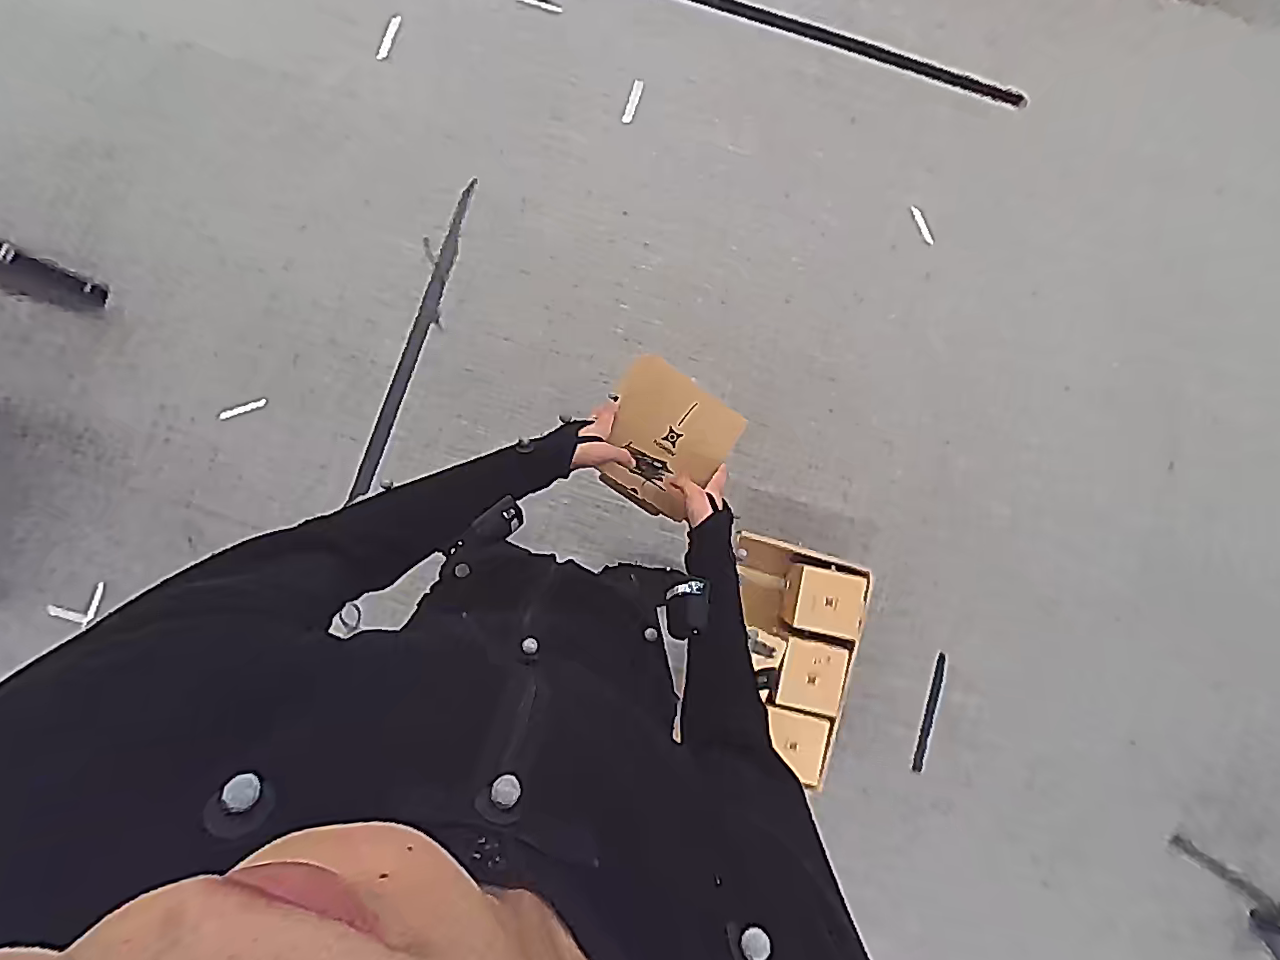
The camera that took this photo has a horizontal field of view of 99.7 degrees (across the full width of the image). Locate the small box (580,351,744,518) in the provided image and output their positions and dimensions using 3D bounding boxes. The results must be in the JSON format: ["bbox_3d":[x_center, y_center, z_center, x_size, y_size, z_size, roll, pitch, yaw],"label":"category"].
[{"bbox_3d":[0.024,-0.074,0.817,0.168,0.176,0.179,33,96,-13],"label":"small box"}]
